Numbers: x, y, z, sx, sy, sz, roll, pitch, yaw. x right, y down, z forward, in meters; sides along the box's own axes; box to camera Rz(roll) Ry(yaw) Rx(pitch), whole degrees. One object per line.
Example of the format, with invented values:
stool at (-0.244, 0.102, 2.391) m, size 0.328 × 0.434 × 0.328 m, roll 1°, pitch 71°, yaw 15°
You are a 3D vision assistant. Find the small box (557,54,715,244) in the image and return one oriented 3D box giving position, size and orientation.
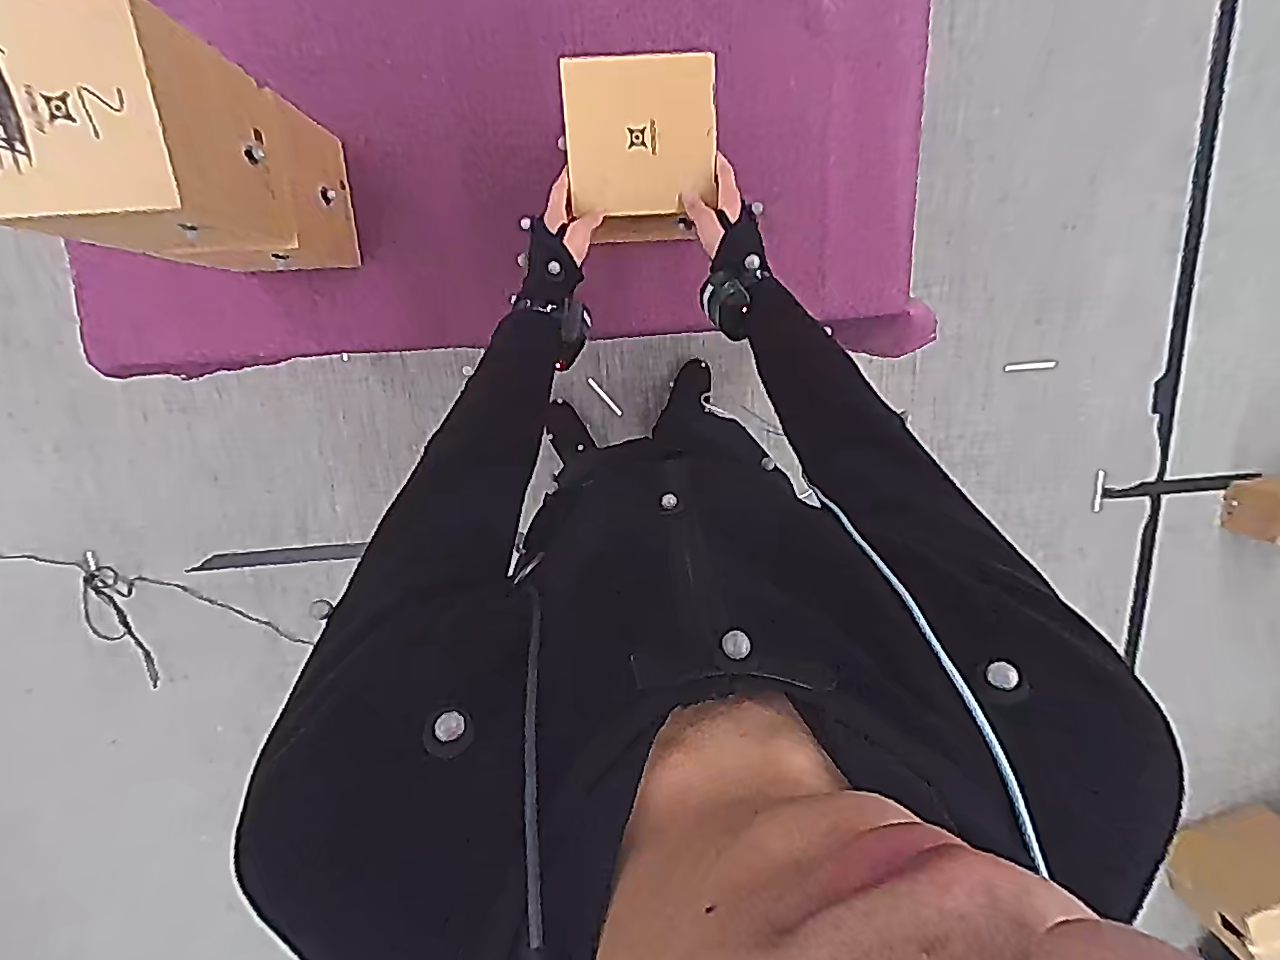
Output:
small box at (-0.005, -0.408, 0.695) m, size 0.179 × 0.176 × 0.168 m, roll -4°, pitch 104°, yaw -2°

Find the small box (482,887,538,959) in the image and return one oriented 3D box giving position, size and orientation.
small box at (-0.467, 1.616, 1.963) m, size 0.168 × 0.176 × 0.179 m, roll -2°, pitch 106°, yaw -2°

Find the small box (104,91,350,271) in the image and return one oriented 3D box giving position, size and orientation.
small box at (-0.491, -0.361, 0.680) m, size 0.179 × 0.176 × 0.168 m, roll -3°, pitch 104°, yaw -2°
